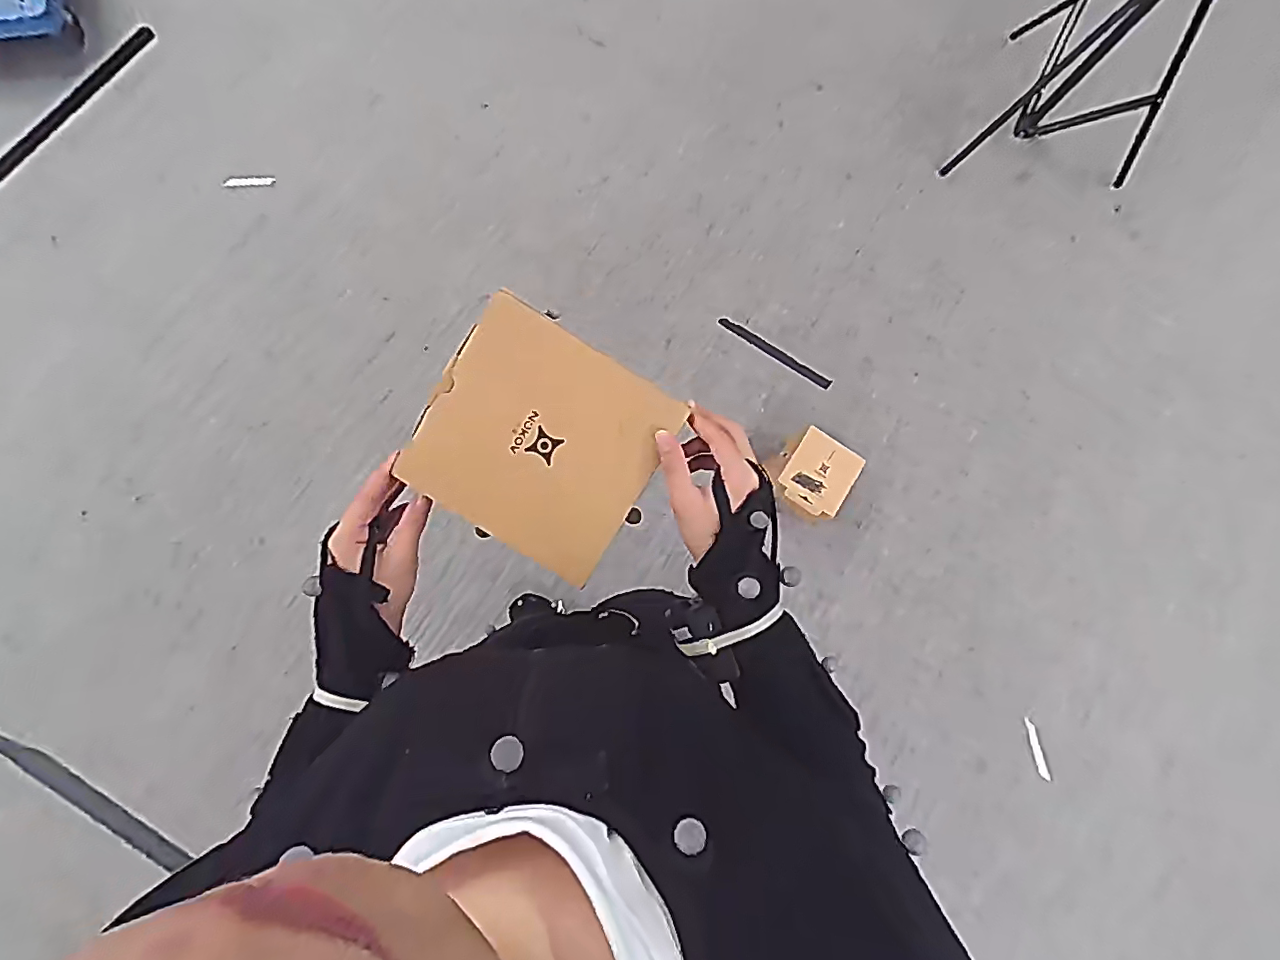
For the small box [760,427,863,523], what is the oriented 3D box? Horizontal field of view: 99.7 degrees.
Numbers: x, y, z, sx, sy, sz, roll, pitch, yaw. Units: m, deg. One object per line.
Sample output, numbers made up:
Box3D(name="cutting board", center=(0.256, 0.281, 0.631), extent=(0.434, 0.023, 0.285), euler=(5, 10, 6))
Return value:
Box3D(name="small box", center=(0.431, -0.004, 1.392), extent=(0.168, 0.176, 0.179), euler=(34, 79, 1))
